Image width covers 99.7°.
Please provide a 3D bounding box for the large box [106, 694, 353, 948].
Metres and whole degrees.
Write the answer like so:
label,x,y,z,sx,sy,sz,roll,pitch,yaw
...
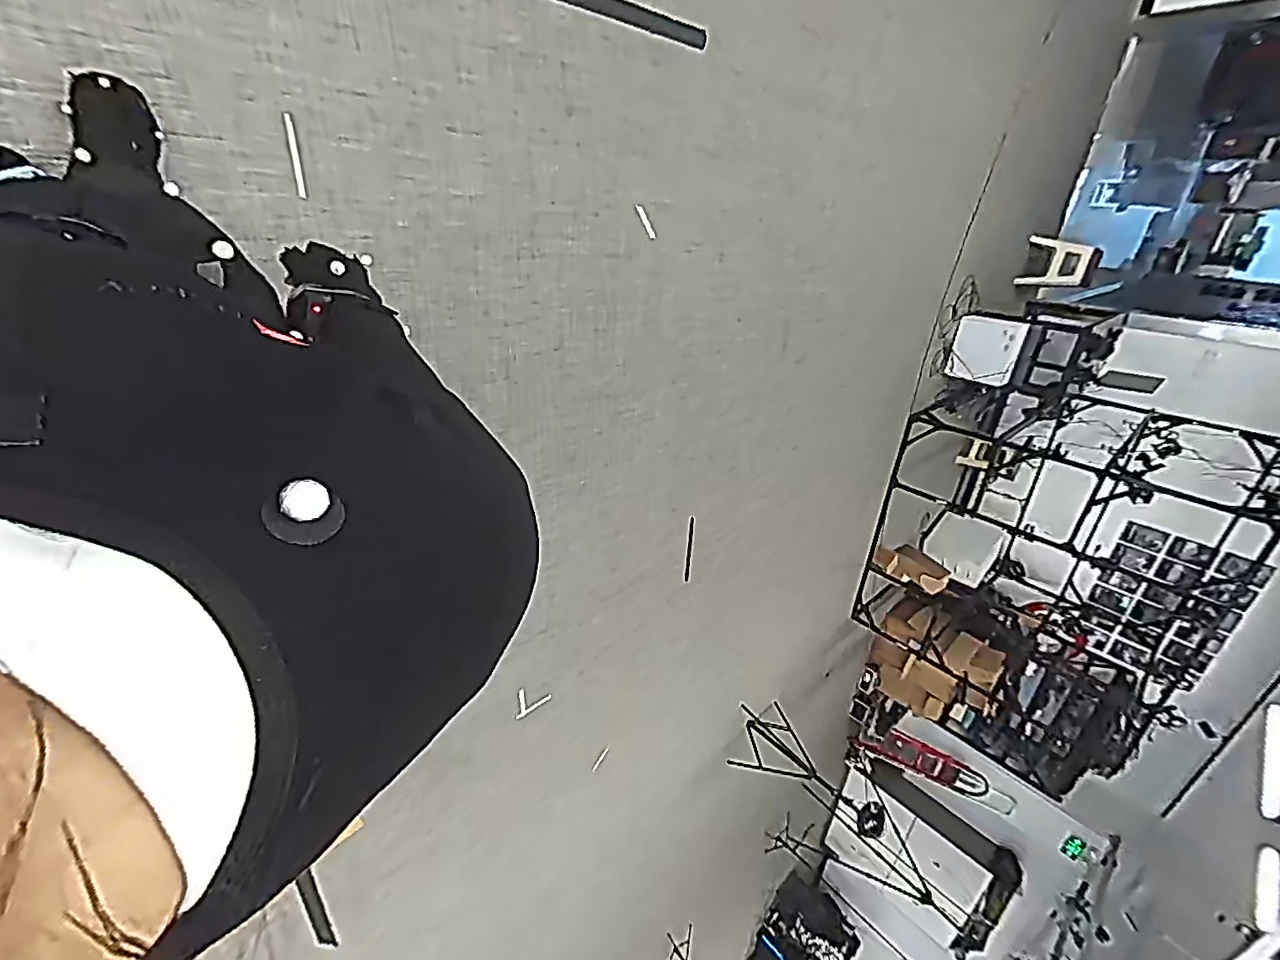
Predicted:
label,x,y,z,sx,sy,sz,roll,pitch,yaw
large box,-1.056,0.862,1.416,0.408,0.320,0.320,-28,131,-35
